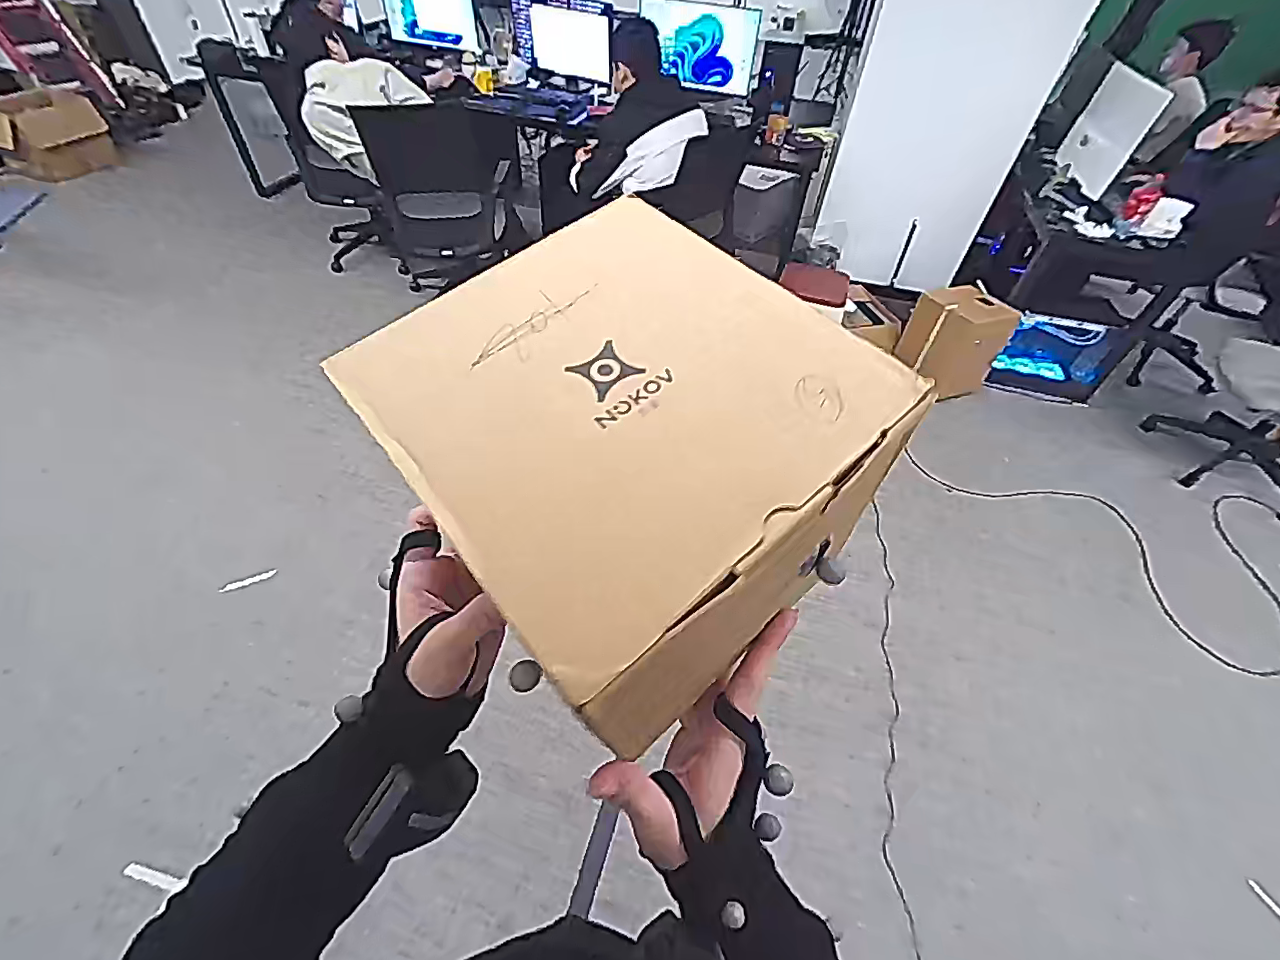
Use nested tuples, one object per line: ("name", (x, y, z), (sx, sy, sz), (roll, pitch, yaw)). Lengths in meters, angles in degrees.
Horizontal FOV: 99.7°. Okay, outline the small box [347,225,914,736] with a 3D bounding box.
("small box", (-0.004, 0.009, 0.287), (0.168, 0.176, 0.179), (-38, 62, -19))
